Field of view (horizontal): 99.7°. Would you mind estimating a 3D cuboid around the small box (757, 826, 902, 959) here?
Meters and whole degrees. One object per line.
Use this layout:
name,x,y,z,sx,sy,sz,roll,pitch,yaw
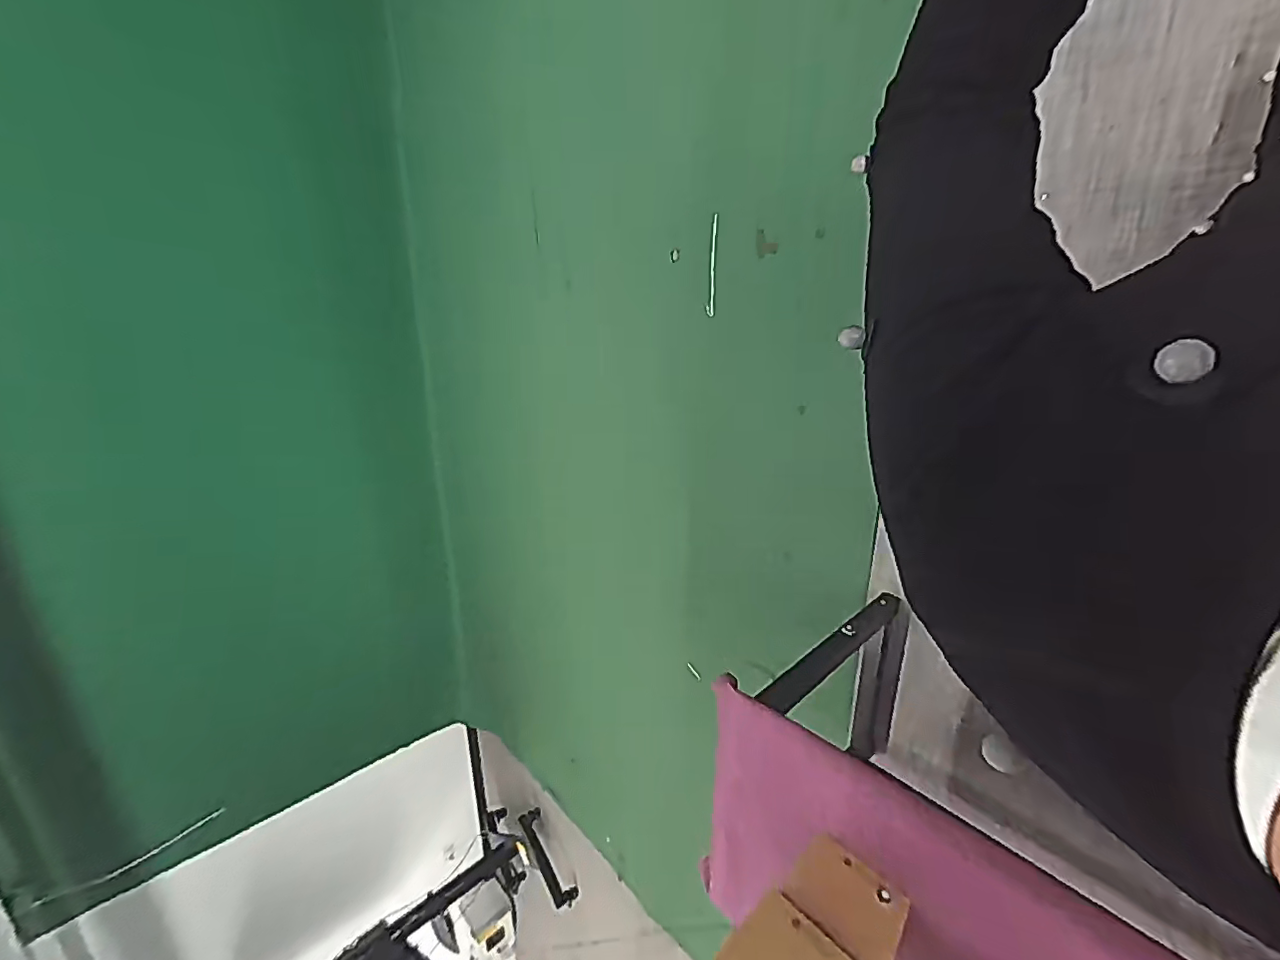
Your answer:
small box,0.333,0.763,0.946,0.168,0.176,0.179,26,121,43
